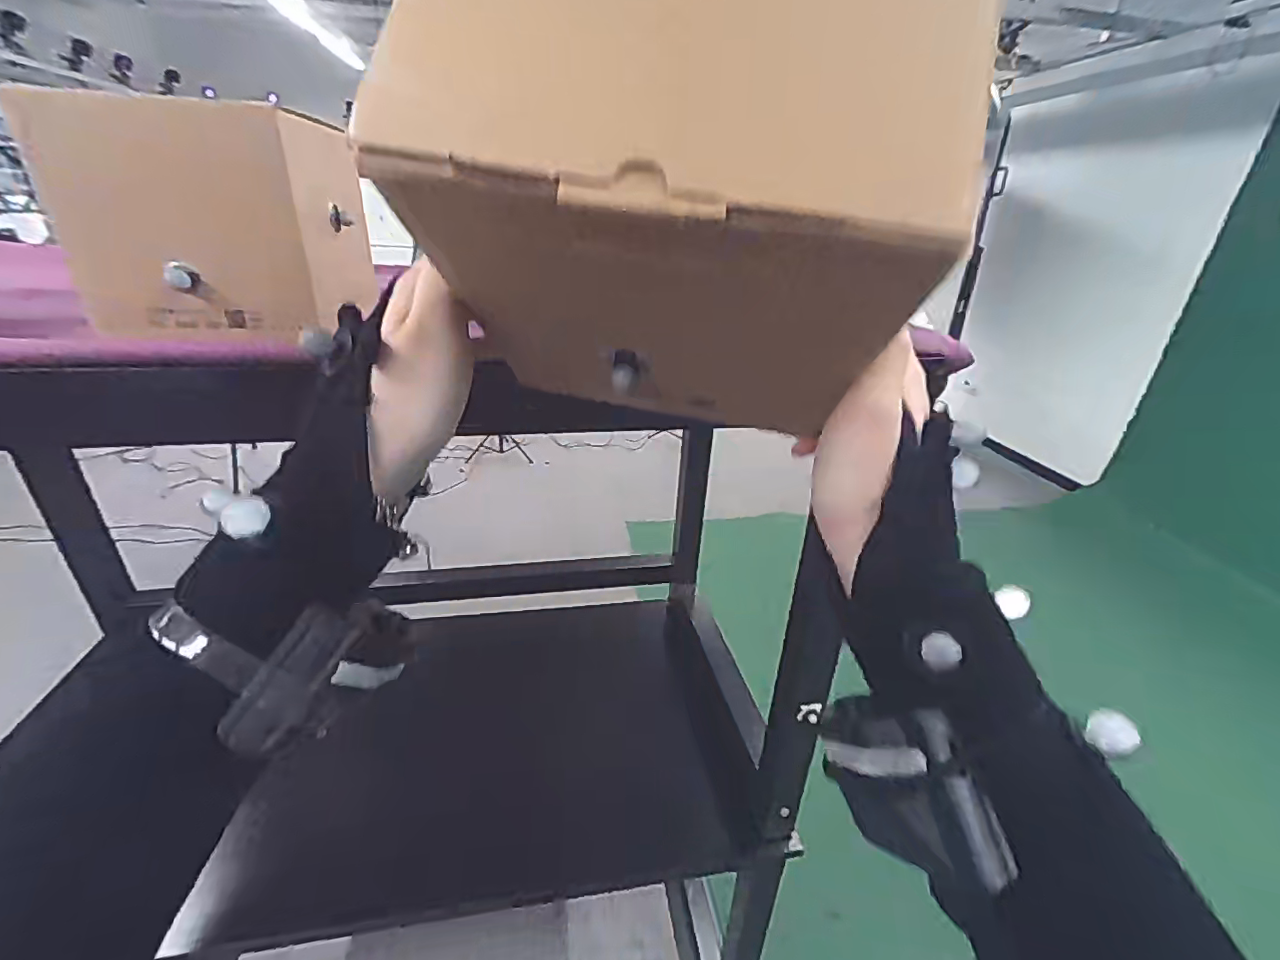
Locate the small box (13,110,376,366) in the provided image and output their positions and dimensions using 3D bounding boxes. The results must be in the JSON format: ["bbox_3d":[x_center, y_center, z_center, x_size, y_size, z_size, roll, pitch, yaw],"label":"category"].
[{"bbox_3d":[-0.348,-0.206,0.473,0.168,0.176,0.179,-2,28,-9],"label":"small box"}]

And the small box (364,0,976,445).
[{"bbox_3d":[0.020,-0.130,0.242,0.168,0.179,0.176,11,-9,6],"label":"small box"}]
